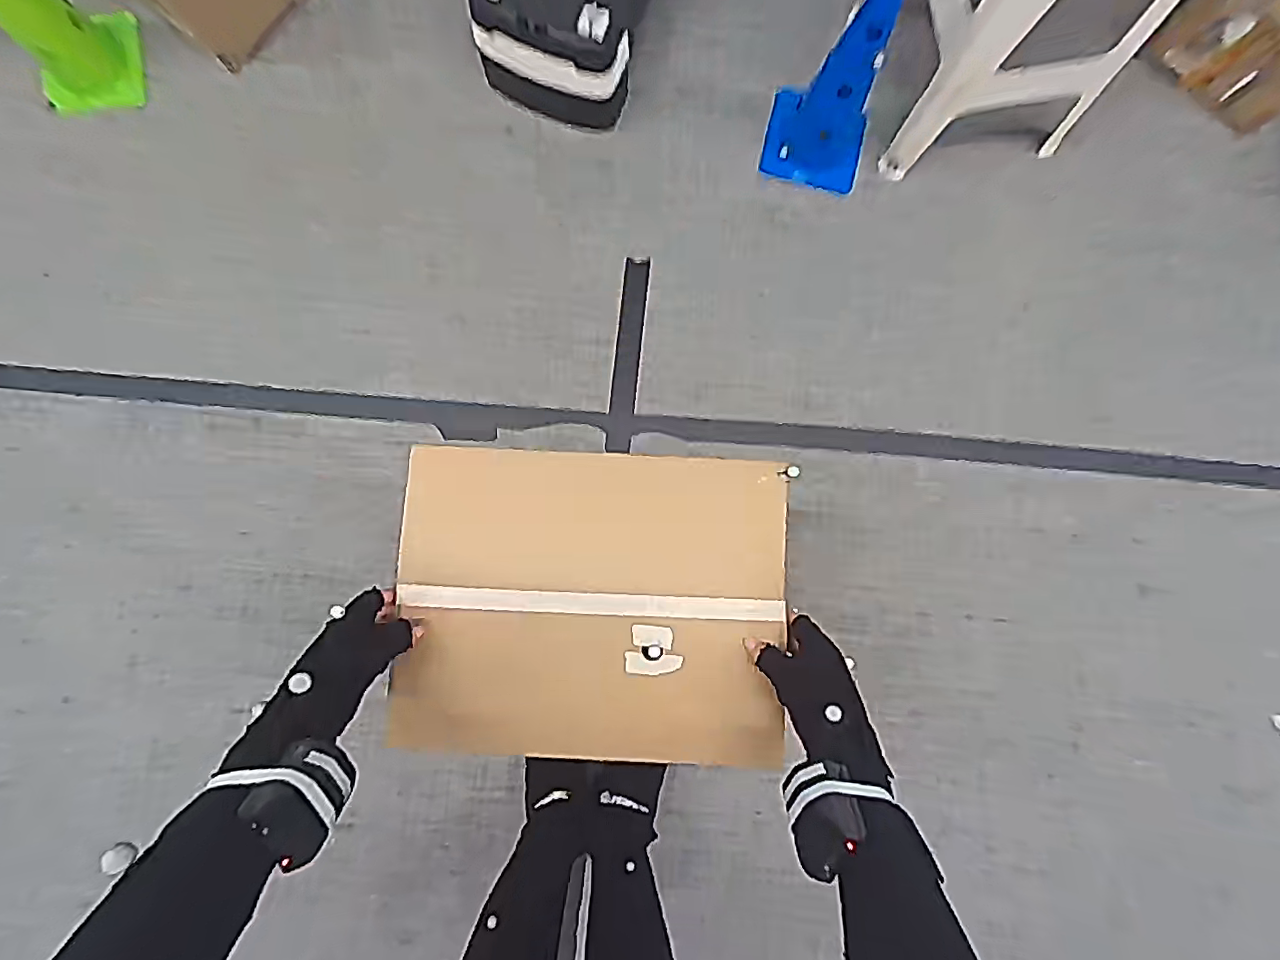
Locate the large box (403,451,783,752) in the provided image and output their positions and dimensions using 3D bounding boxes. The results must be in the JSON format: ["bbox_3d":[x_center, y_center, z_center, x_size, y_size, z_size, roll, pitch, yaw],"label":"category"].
[{"bbox_3d":[-0.049,0.146,0.728,0.408,0.320,0.320,3,83,-1],"label":"large box"}]
